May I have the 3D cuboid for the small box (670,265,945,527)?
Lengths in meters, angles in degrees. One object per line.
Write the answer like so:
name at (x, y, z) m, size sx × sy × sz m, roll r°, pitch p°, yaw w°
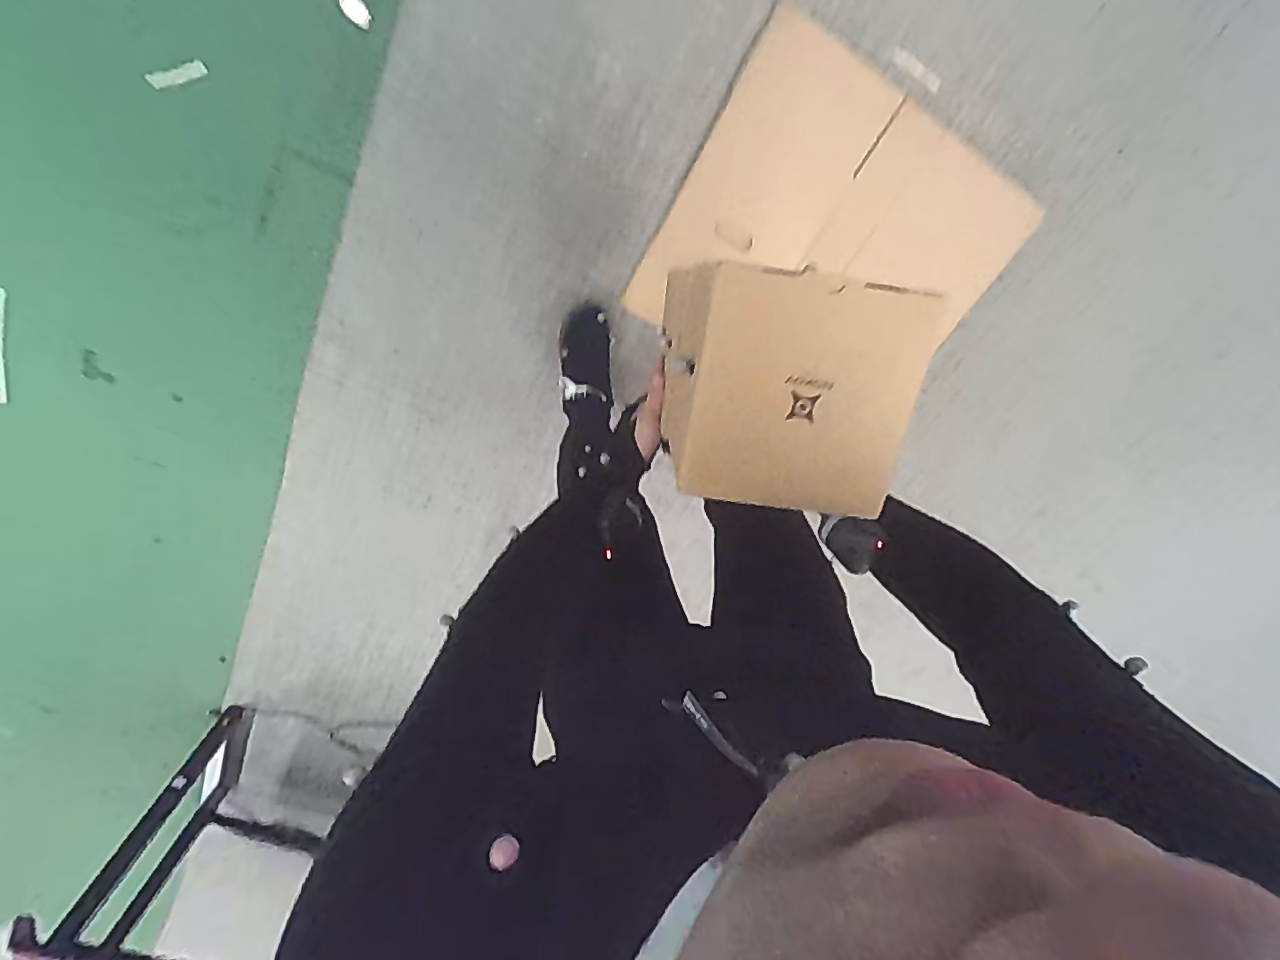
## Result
small box at (0.118, -0.081, 0.468) m, size 0.168 × 0.176 × 0.179 m, roll 7°, pitch 110°, yaw -2°

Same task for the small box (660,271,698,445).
small box at (0.115, -0.135, 0.620) m, size 0.168 × 0.176 × 0.179 m, roll 6°, pitch 109°, yaw -2°
